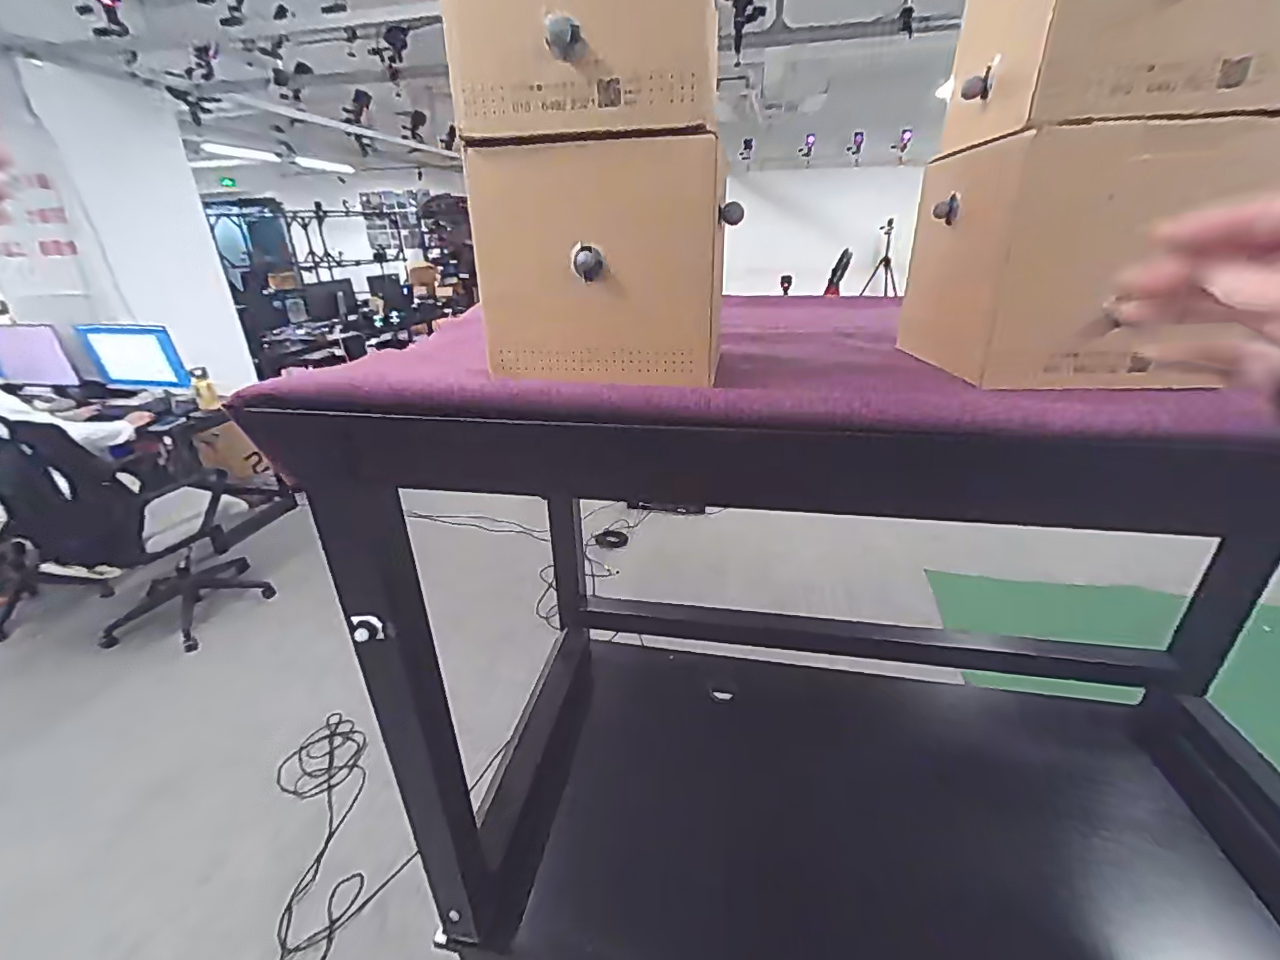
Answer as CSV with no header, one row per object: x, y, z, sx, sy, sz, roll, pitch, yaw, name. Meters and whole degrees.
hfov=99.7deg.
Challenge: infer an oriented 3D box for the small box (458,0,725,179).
-0.024,-0.321,0.389,0.168,0.176,0.179,2,24,8,small box
